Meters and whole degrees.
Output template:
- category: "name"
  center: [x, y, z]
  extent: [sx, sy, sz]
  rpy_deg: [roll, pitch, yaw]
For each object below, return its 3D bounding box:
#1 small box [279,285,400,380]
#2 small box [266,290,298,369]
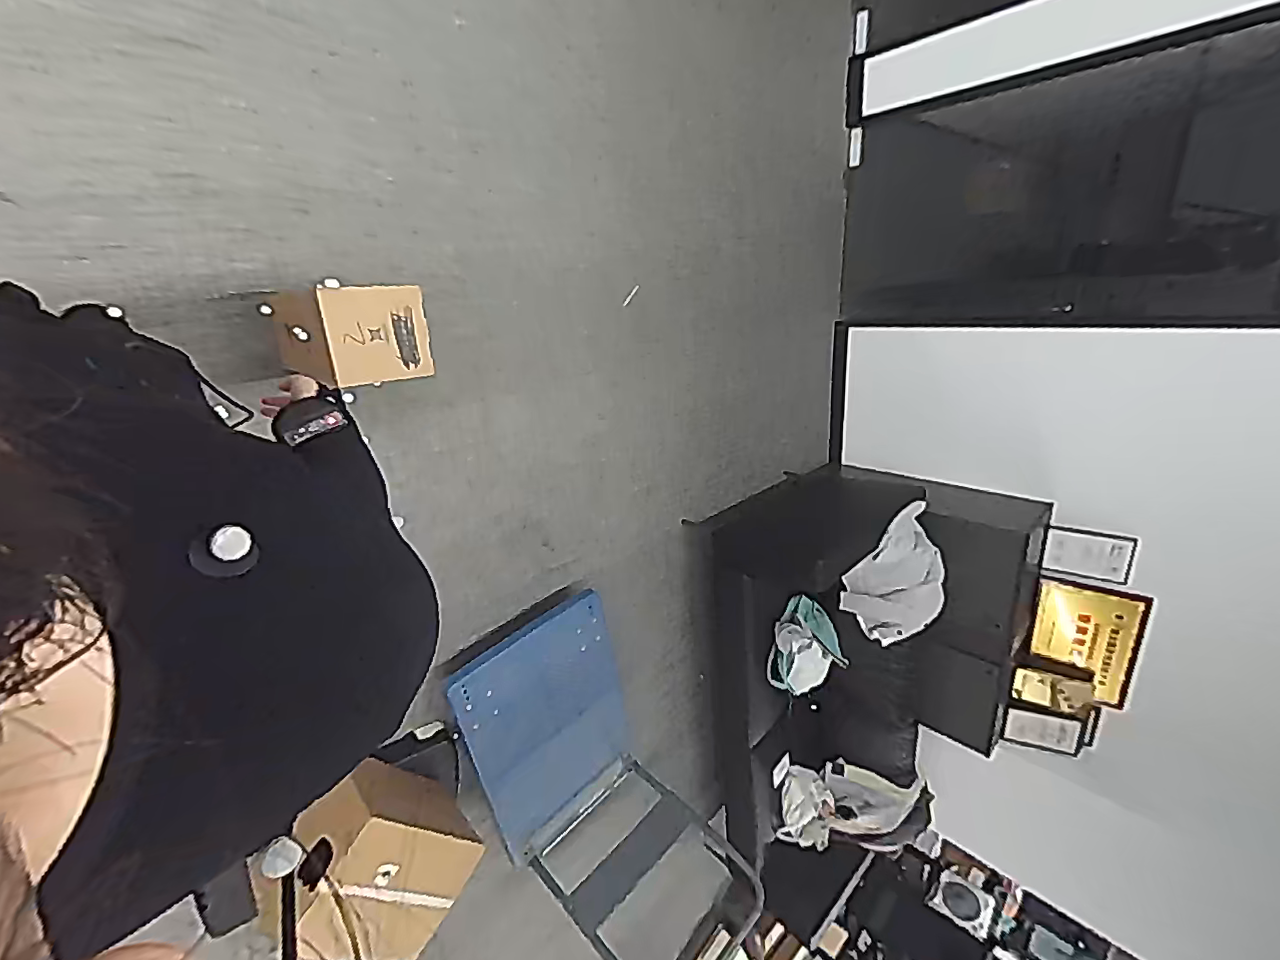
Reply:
- category: "small box"
  center: [-0.631, -0.312, 1.133]
  extent: [0.168, 0.176, 0.179]
  rpy_deg: [-19, 116, -39]
- category: "small box"
  center: [-0.740, -0.351, 1.249]
  extent: [0.179, 0.176, 0.168]
  rpy_deg: [-20, 116, -41]
